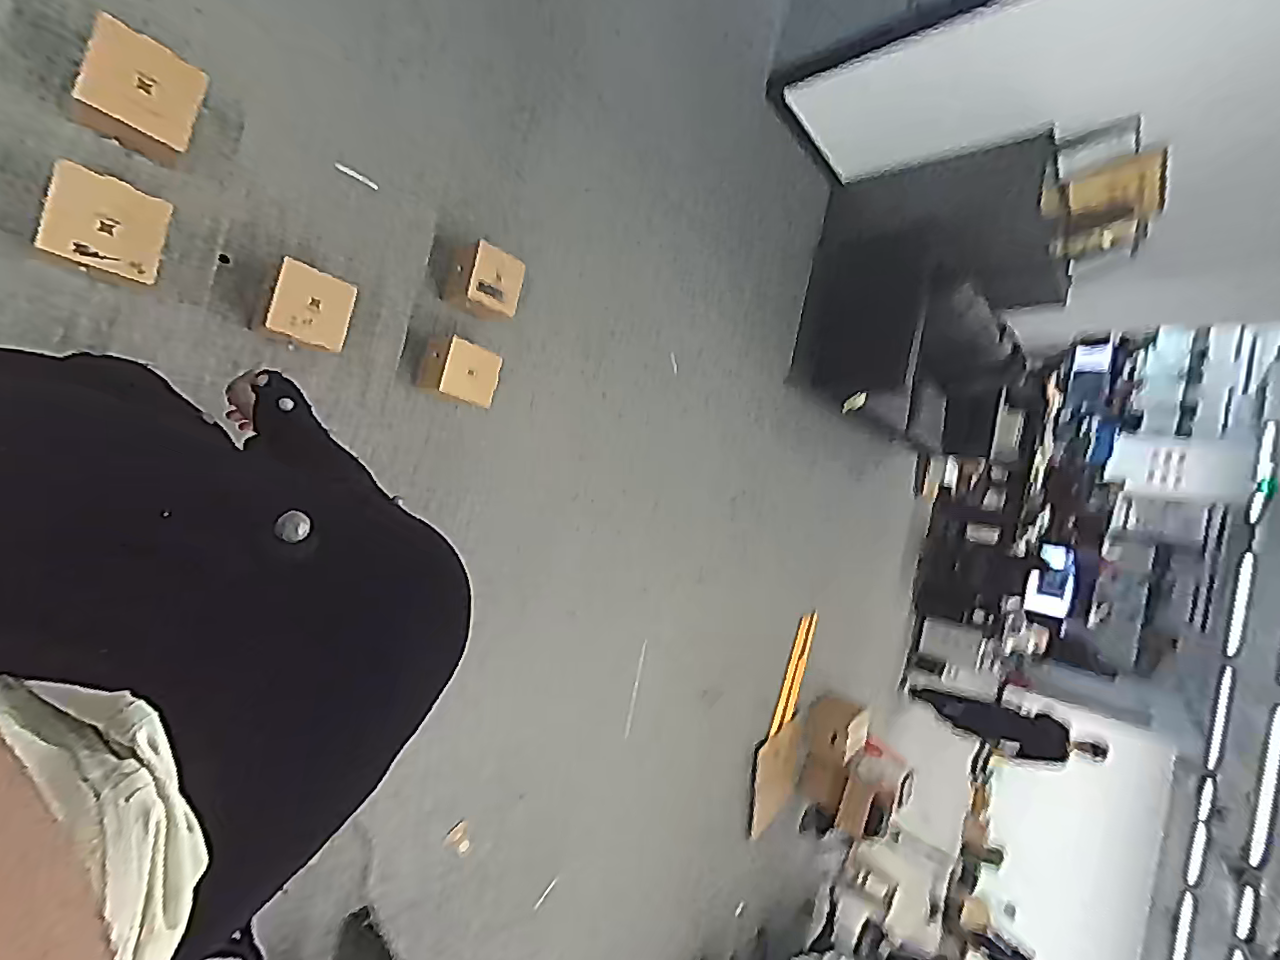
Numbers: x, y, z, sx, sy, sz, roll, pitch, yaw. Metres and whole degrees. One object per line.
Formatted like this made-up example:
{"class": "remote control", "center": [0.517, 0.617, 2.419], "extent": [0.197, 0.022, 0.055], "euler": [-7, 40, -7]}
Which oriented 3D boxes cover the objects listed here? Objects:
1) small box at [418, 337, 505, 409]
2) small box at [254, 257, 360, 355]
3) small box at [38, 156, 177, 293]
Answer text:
{"class": "small box", "center": [-0.551, -0.324, 1.662], "extent": [0.179, 0.176, 0.168], "euler": [19, 84, -47]}
{"class": "small box", "center": [-0.832, -0.424, 1.346], "extent": [0.168, 0.176, 0.179], "euler": [18, 85, -46]}
{"class": "small box", "center": [-1.067, -0.499, 1.086], "extent": [0.168, 0.176, 0.179], "euler": [16, 85, -46]}
